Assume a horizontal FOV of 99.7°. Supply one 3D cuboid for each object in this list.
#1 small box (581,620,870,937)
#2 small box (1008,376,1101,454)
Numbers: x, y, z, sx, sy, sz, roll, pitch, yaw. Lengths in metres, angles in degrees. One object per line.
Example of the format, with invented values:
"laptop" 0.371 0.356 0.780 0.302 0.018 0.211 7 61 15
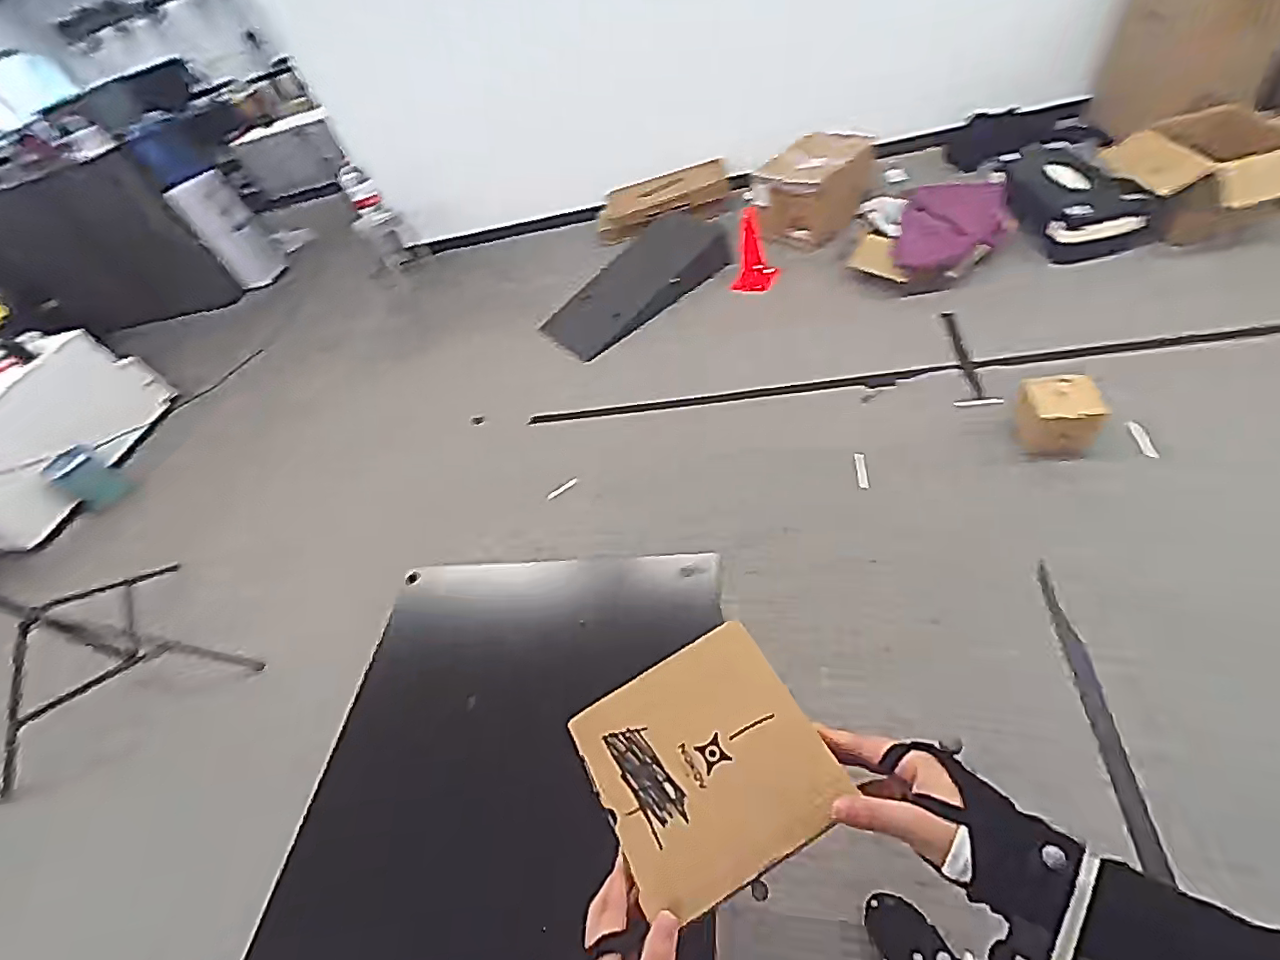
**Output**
"small box" 0.076 0.263 0.486 0.179 0.176 0.168 -29 54 -6
"small box" 1.268 -0.192 1.668 0.168 0.176 0.179 -3 51 16
